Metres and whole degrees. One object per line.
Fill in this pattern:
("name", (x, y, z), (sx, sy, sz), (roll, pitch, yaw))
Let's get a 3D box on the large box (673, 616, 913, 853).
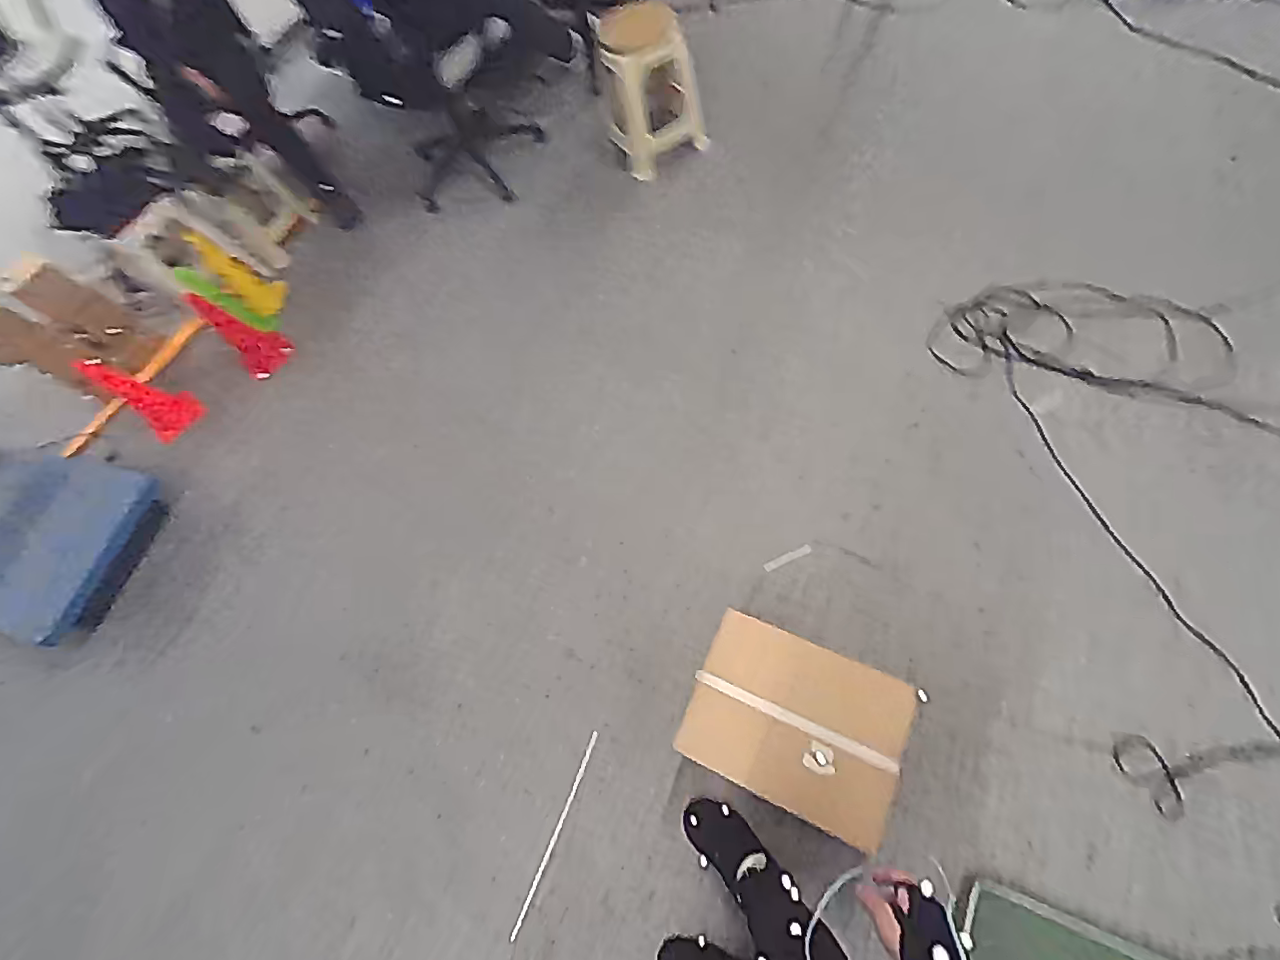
("large box", (0.324, 0.549, 1.213), (0.408, 0.320, 0.320), (20, 70, 18))
